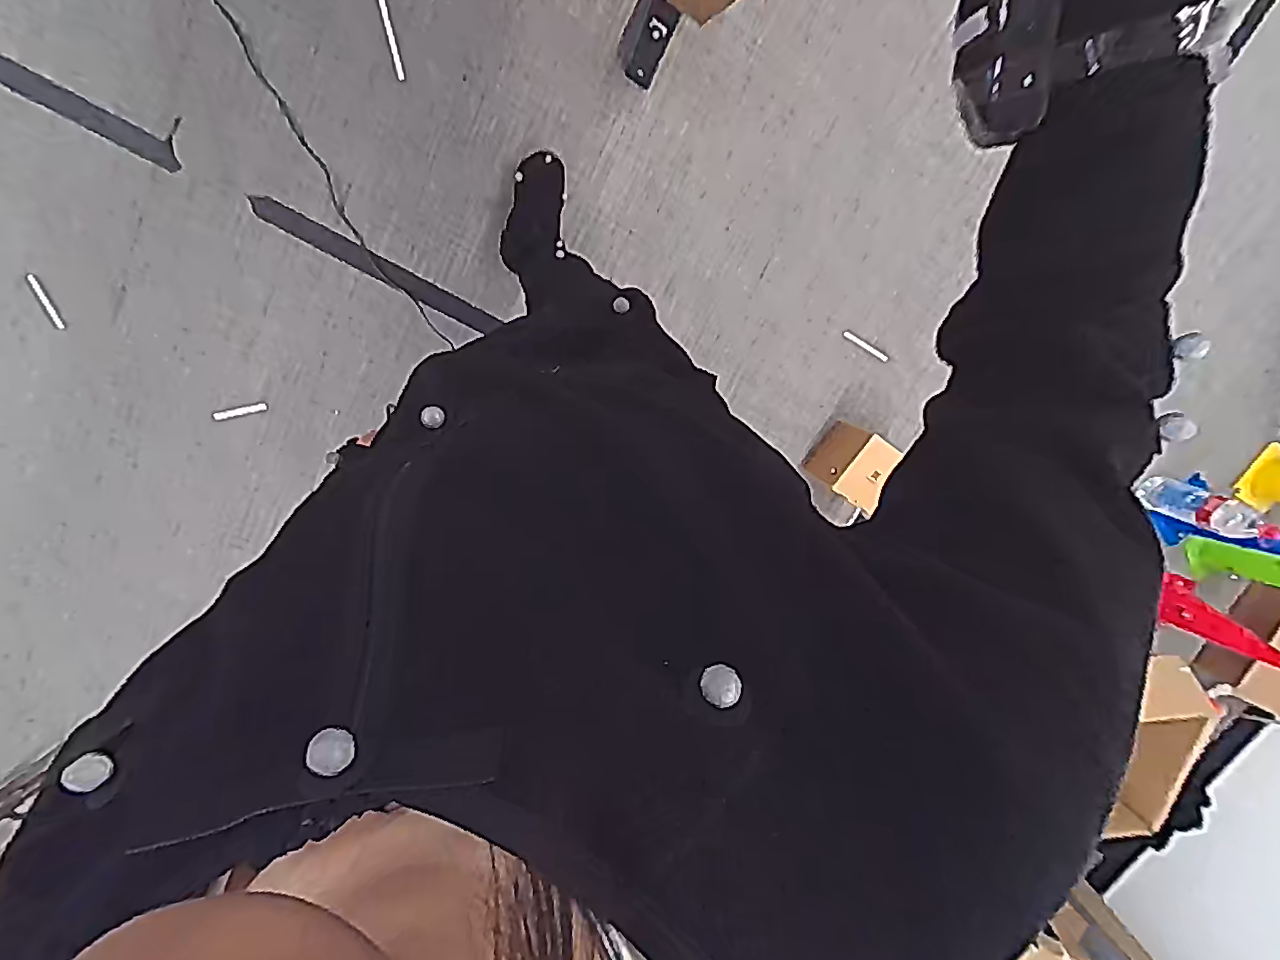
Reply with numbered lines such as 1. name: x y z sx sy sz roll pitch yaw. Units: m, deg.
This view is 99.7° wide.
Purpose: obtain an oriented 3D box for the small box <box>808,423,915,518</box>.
1. small box: 0.590 -0.032 1.464 0.168 0.176 0.179 31 102 -18
